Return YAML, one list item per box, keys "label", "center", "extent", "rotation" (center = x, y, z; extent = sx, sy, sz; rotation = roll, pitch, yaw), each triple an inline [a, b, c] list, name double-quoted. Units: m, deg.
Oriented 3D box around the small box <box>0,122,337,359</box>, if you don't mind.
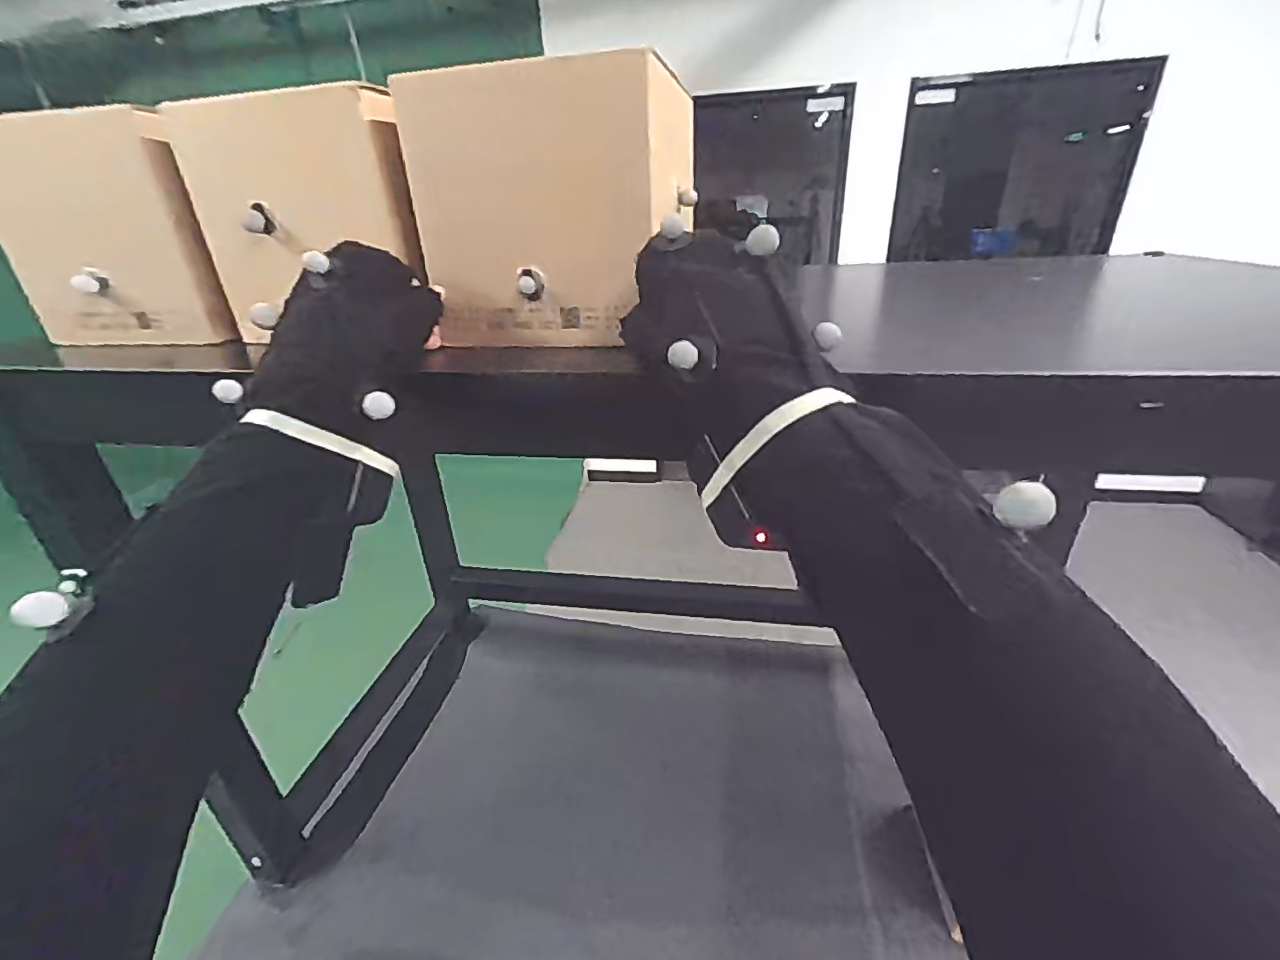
- label: "small box"
  center: [-0.414, -0.218, 0.501]
  extent: [0.168, 0.176, 0.179]
  rotation: [2, 28, 9]
